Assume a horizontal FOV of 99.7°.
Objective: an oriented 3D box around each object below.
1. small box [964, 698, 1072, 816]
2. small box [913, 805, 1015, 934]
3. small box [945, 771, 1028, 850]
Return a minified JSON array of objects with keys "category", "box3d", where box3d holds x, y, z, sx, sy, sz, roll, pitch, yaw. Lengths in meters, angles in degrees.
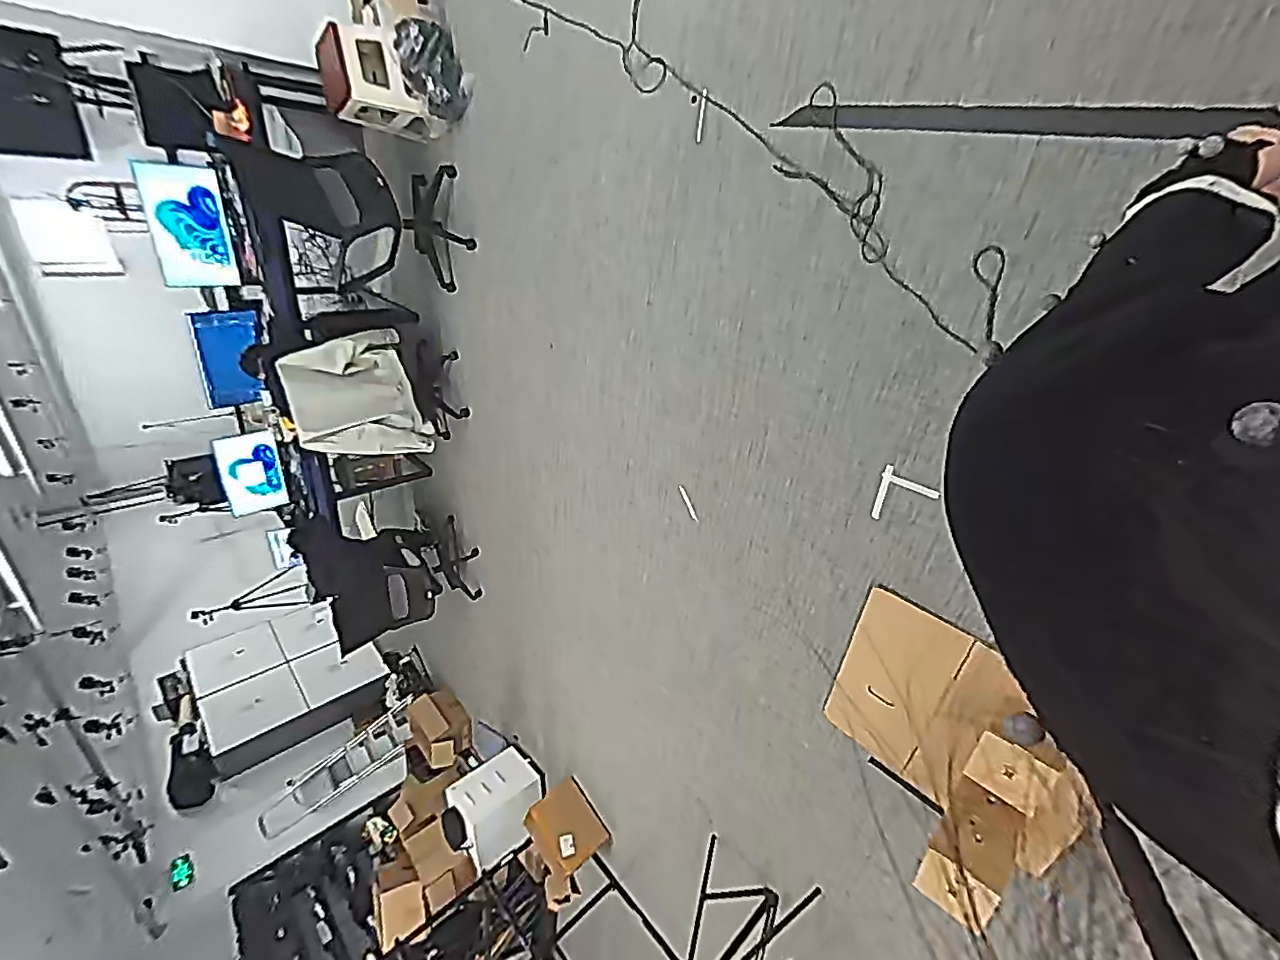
[{"category":"small box","box3d":[0.976,0.703,1.393,0.168,0.176,0.179,29,126,39]},{"category":"small box","box3d":[0.844,1.004,1.407,0.168,0.176,0.179,24,123,39]},{"category":"small box","box3d":[0.960,0.957,1.515,0.168,0.176,0.179,23,121,41]}]
